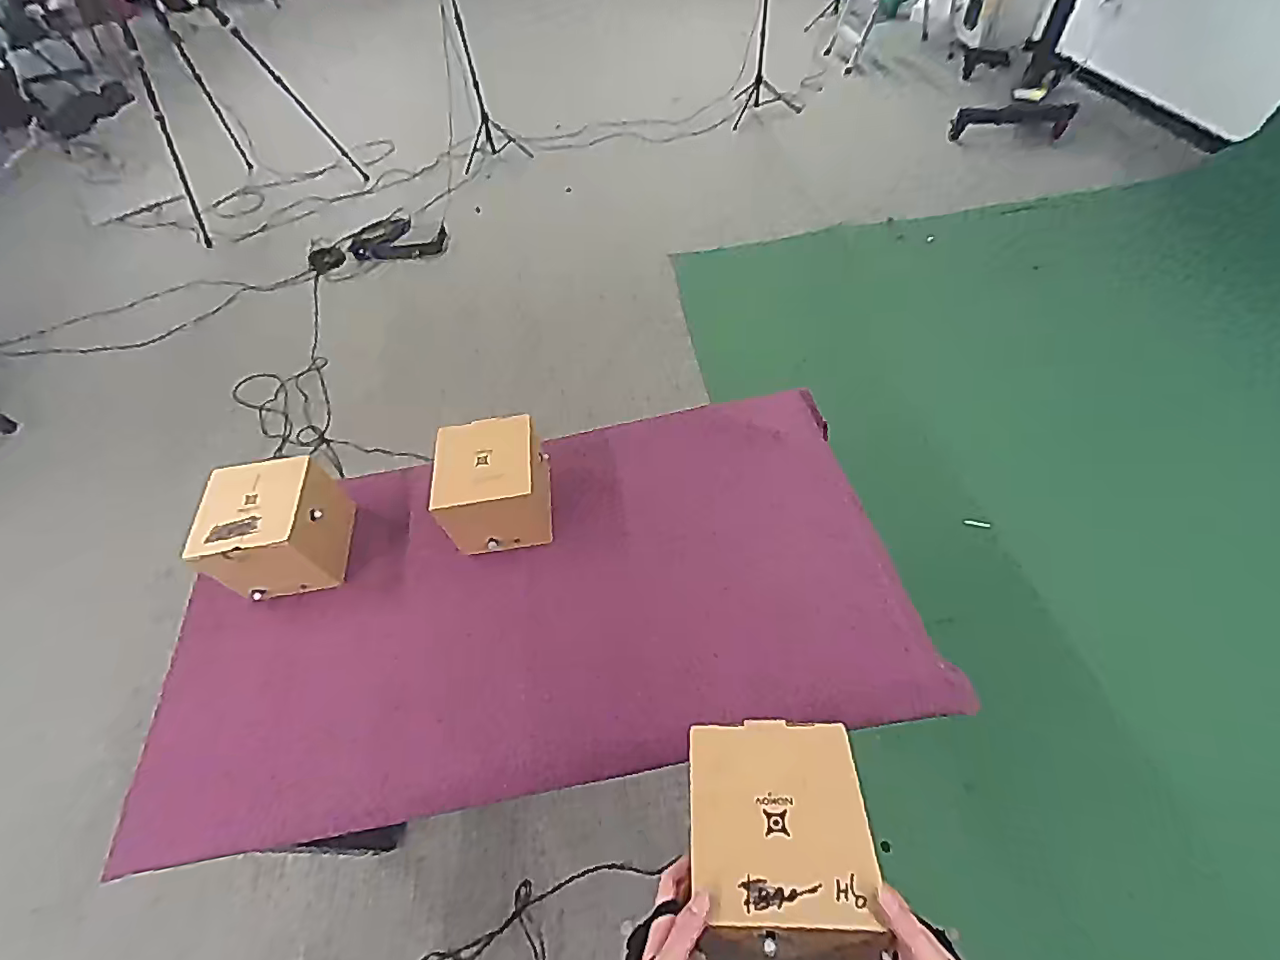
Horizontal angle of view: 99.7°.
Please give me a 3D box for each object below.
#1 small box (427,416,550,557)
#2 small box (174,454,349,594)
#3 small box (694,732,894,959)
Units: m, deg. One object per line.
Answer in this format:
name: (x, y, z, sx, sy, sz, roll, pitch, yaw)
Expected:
small box: (-0.256, 0.014, 0.953, 0.168, 0.176, 0.179, -8, 56, -1)
small box: (-0.626, 0.083, 0.924, 0.168, 0.176, 0.179, -9, 56, -3)
small box: (0.144, 0.389, 0.564, 0.168, 0.176, 0.179, -4, 38, 8)
